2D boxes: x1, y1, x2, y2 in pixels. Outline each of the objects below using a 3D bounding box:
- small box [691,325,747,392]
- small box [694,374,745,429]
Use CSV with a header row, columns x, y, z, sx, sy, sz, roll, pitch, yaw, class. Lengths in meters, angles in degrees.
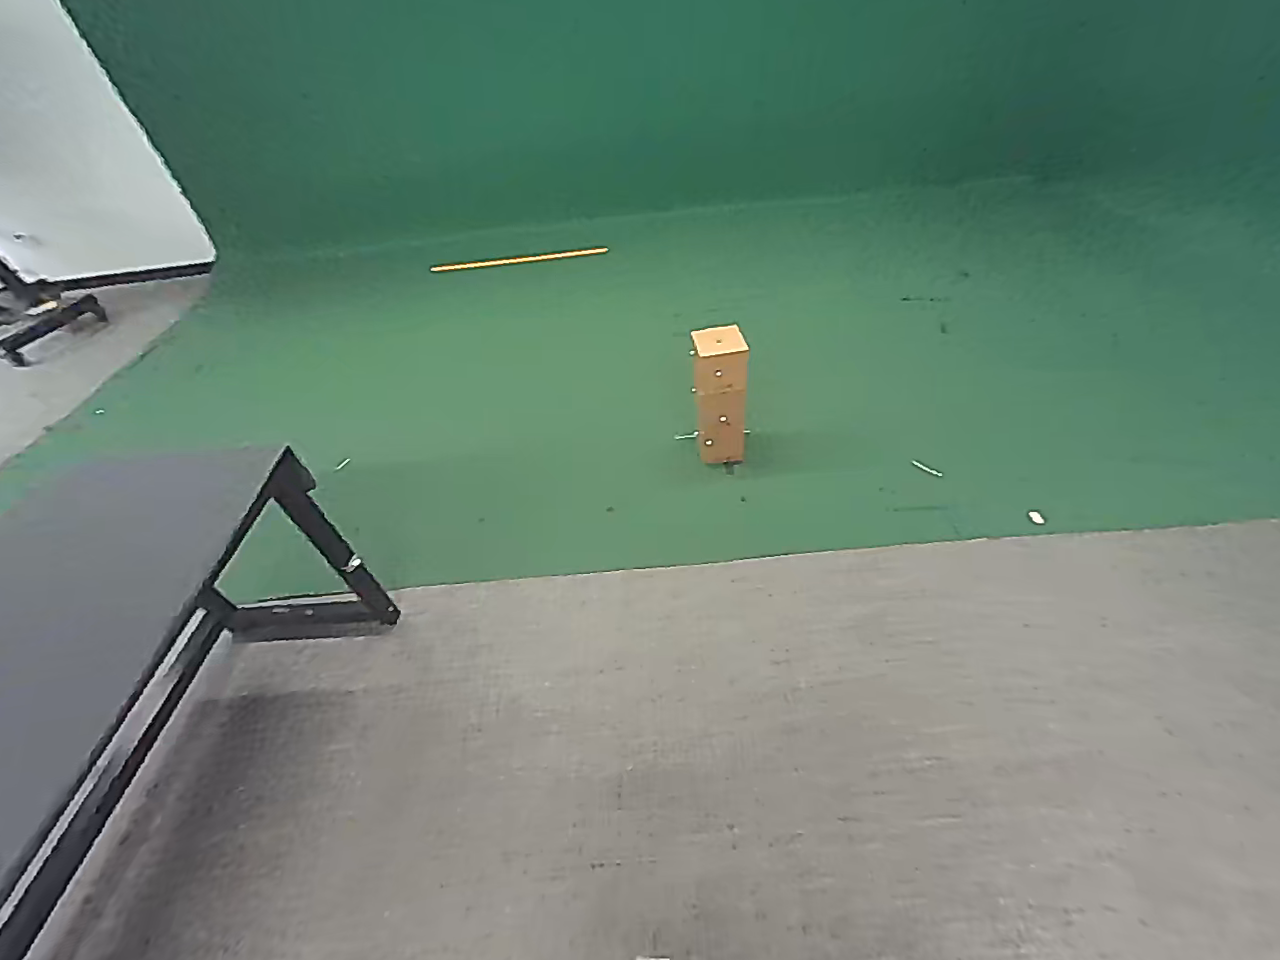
x,y,z,sx,sy,sz,roll,pitch,yaw,class
0.282,-0.427,1.932,0.168,0.176,0.179,-9,44,-1,small box
0.297,-0.315,2.048,0.168,0.176,0.179,-7,45,1,small box
